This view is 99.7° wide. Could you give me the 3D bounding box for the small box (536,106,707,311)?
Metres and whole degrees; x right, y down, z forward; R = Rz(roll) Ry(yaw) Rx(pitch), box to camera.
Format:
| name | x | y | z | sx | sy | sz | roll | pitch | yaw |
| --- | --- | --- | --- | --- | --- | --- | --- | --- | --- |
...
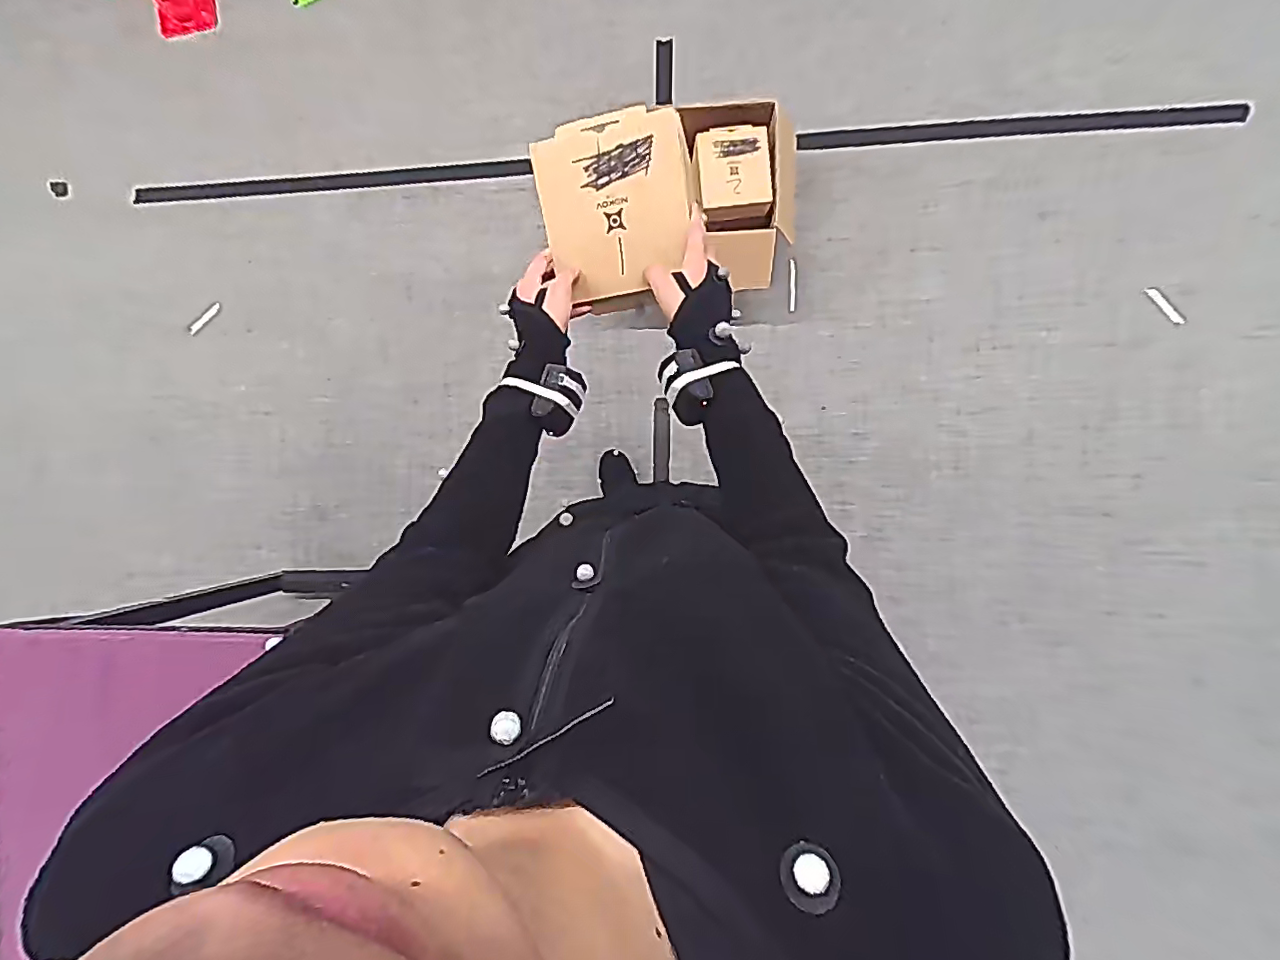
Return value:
| name | x | y | z | sx | sy | sz | roll | pitch | yaw |
| --- | --- | --- | --- | --- | --- | --- | --- | --- | --- |
| small box | -0.011 | -0.316 | 0.670 | 0.168 | 0.176 | 0.179 | -6 | 103 | 12 |
